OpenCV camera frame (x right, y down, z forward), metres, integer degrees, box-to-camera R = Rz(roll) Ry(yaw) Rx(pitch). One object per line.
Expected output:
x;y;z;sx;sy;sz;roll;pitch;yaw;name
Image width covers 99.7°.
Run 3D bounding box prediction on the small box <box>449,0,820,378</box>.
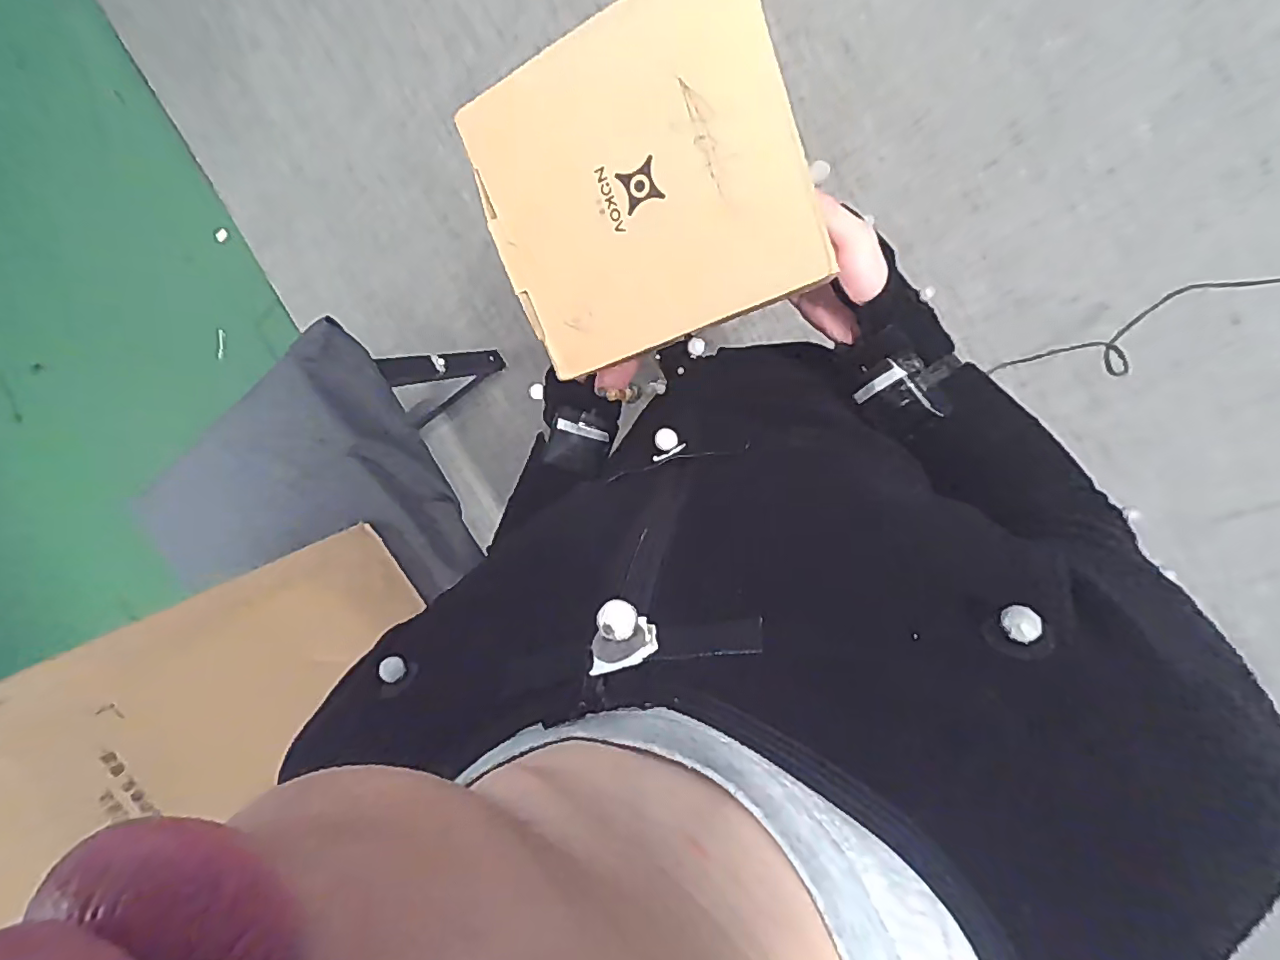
0.015;-0.183;0.369;0.179;0.176;0.168;-17;103;22;small box
